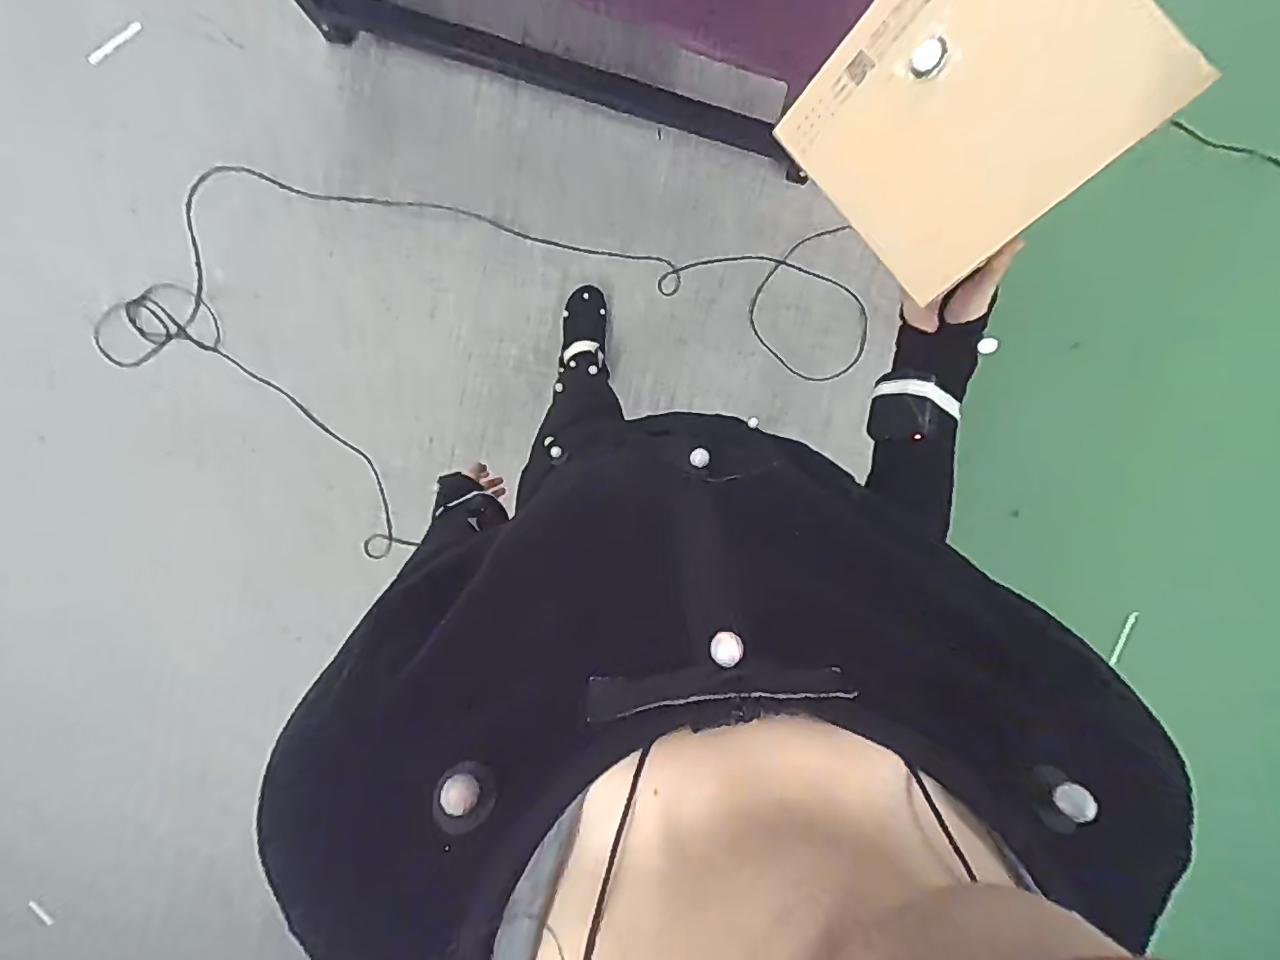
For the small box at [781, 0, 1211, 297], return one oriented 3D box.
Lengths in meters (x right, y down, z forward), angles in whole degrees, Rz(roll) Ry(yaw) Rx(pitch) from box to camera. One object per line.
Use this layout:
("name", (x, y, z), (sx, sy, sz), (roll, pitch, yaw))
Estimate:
("small box", (0.237, -0.260, 0.388), (0.176, 0.179, 0.168), (54, 133, 5))
